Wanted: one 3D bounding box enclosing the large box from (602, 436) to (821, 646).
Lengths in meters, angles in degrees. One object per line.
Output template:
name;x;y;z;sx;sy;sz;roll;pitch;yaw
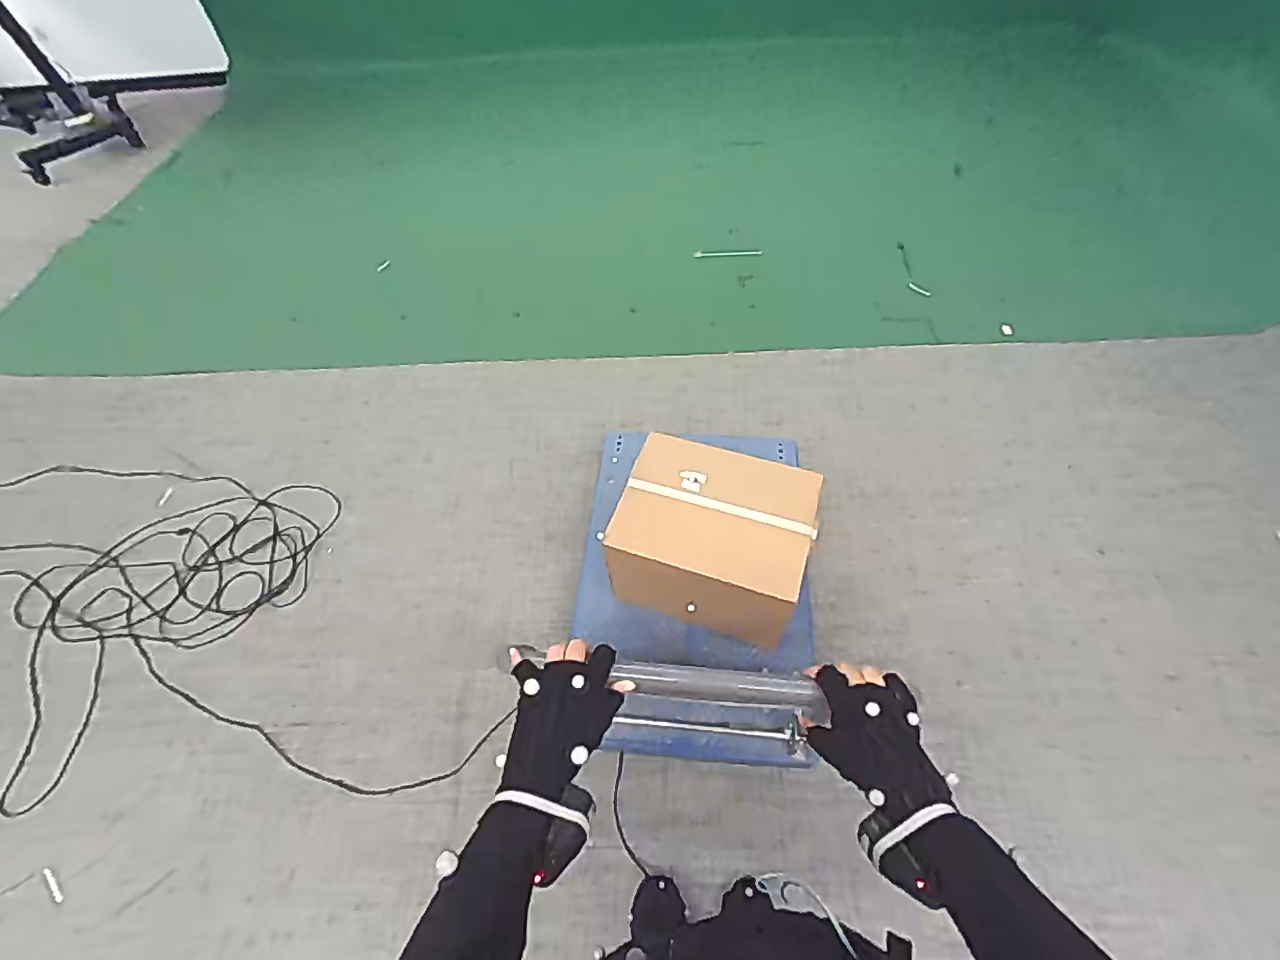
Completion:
large box;0.169;0.147;1.265;0.408;0.320;0.320;15;59;14
